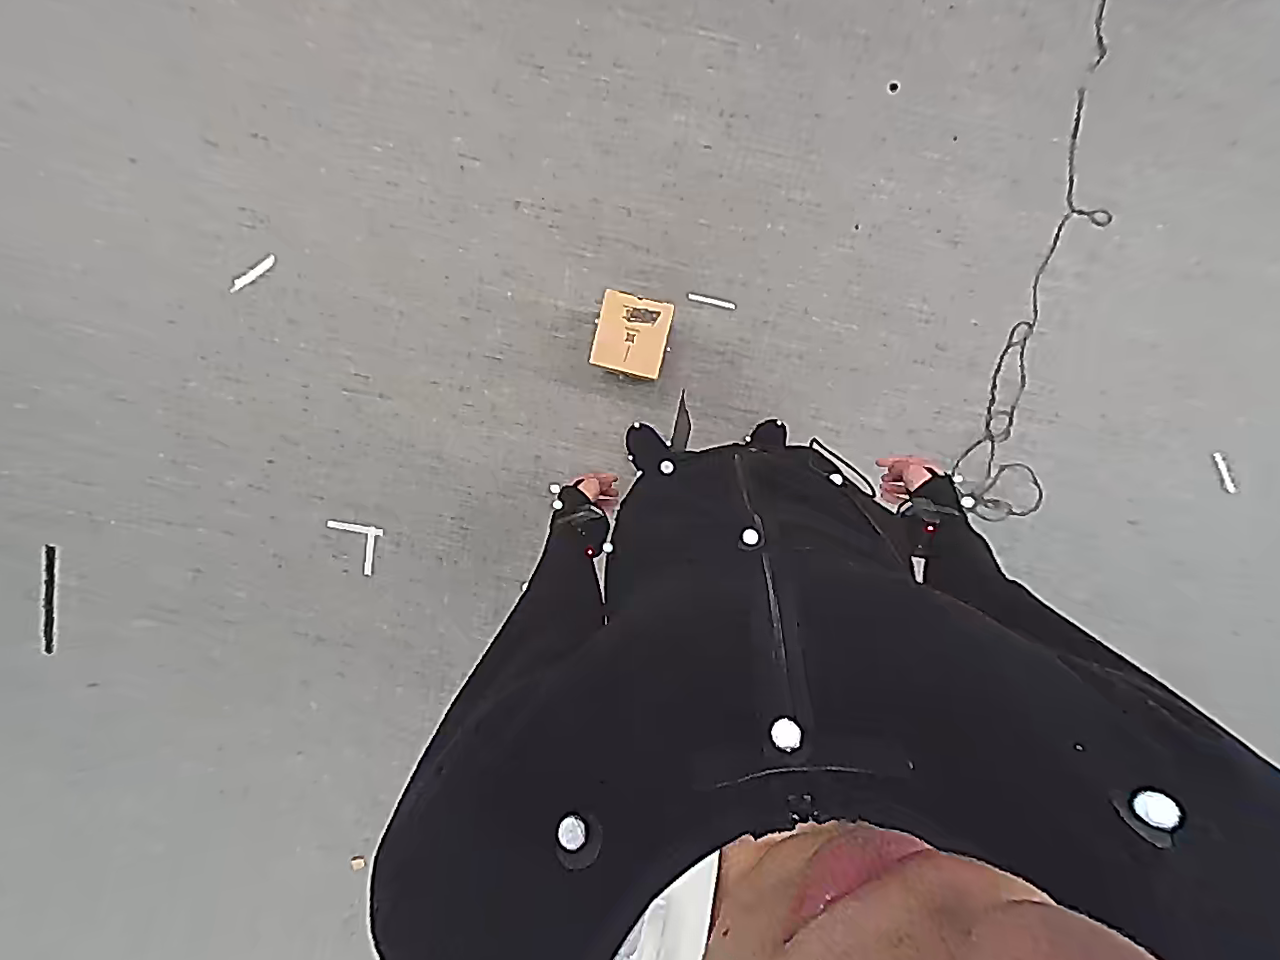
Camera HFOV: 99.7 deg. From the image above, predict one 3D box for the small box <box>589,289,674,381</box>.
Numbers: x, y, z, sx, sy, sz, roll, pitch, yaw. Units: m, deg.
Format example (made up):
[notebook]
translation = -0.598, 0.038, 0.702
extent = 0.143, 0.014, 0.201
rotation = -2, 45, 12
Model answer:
[small box]
translation = -0.021, -0.349, 1.329
extent = 0.168, 0.176, 0.179
rotation = 14, 99, -1
